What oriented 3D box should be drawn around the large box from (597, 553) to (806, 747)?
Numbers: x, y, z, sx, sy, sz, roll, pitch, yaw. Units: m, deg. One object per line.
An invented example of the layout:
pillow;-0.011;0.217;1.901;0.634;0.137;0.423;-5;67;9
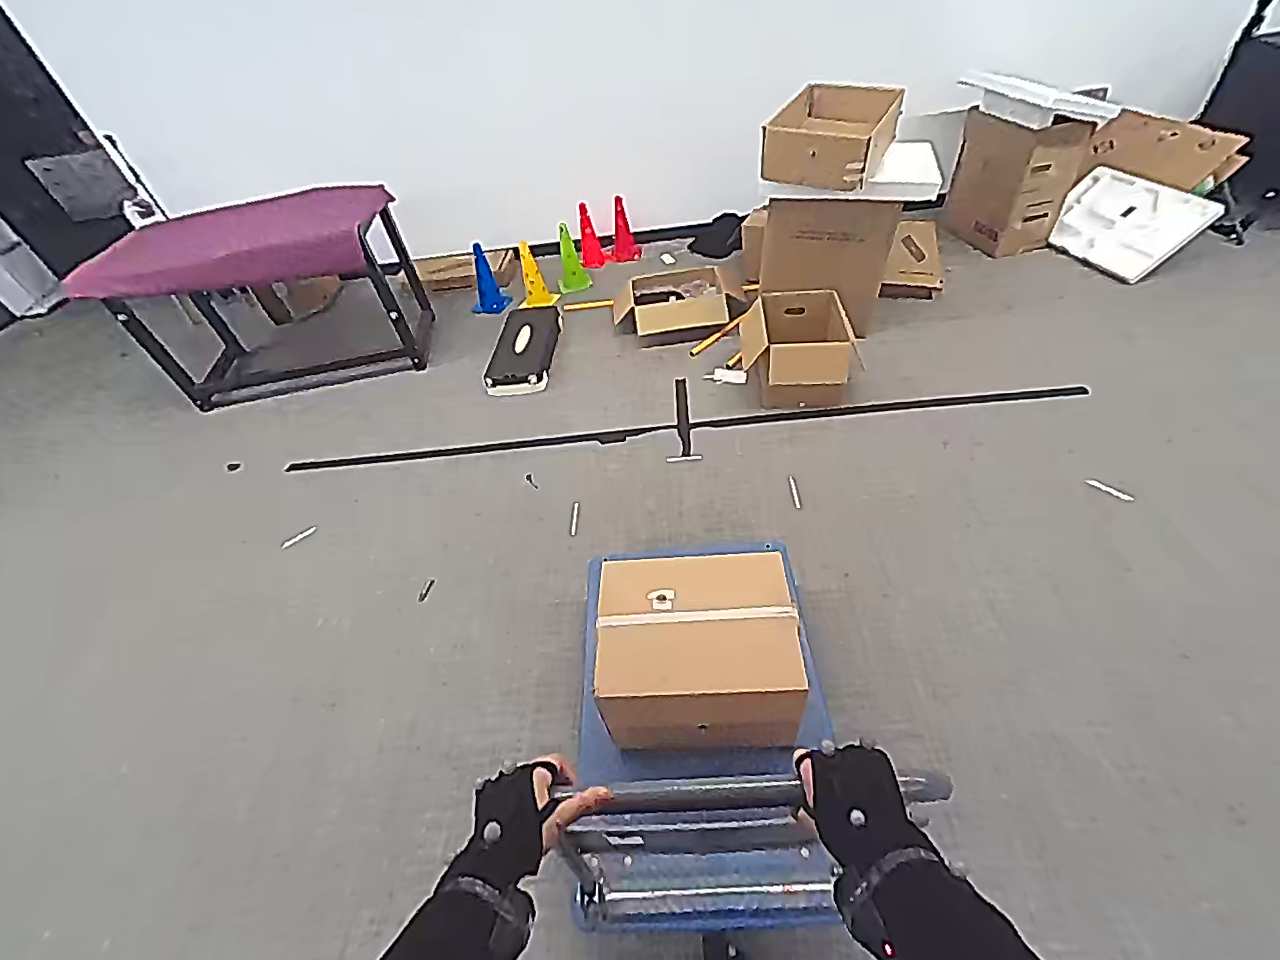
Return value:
large box;0.133;0.395;1.234;0.408;0.320;0.320;-5;45;5
